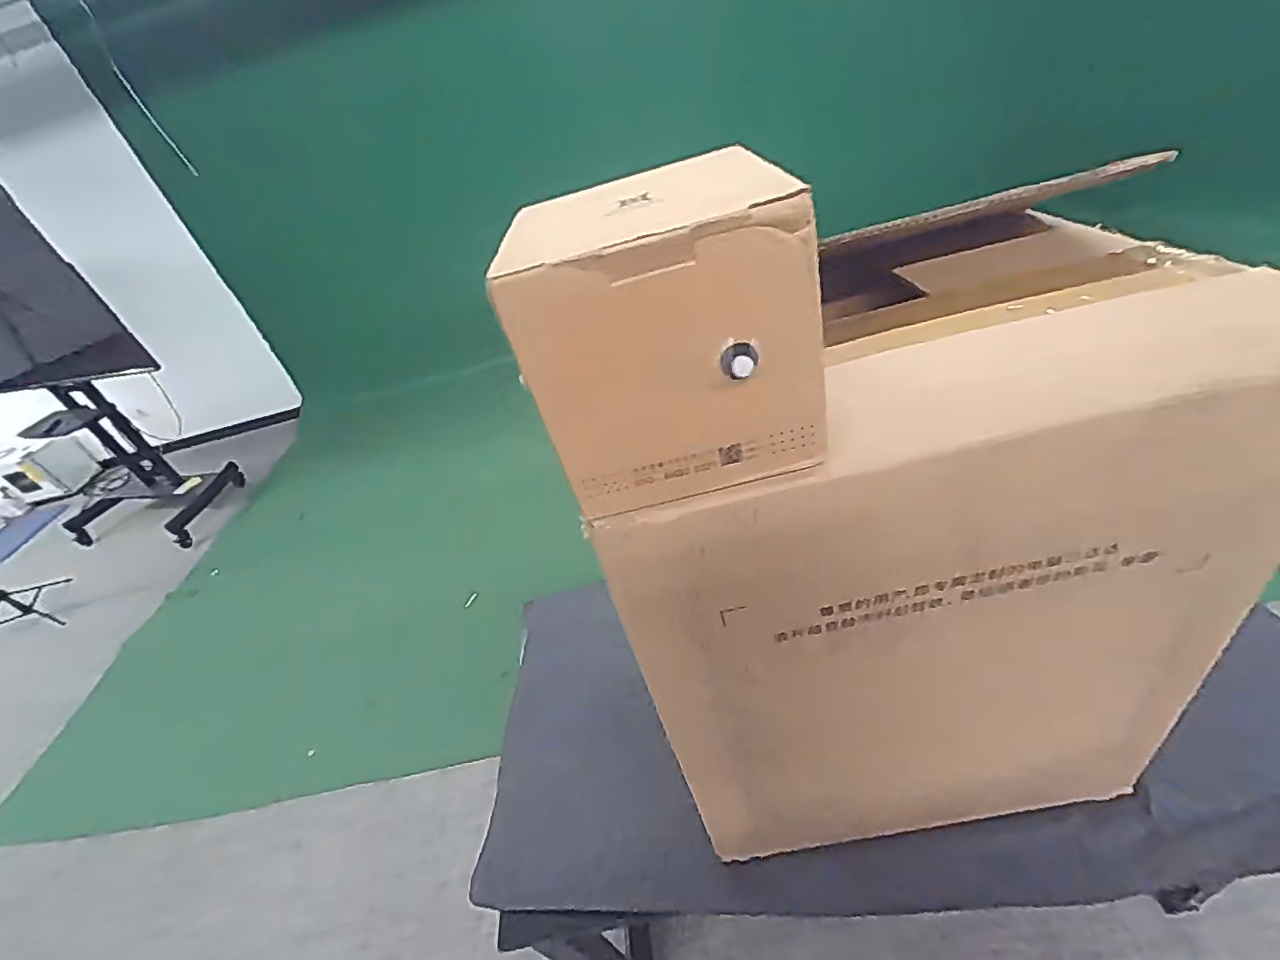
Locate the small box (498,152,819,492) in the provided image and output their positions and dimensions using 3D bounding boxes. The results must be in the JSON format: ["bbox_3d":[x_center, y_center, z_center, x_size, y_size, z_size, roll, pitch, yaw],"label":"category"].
[{"bbox_3d":[0.019,-0.108,0.385,0.168,0.176,0.179,-14,35,6],"label":"small box"}]
